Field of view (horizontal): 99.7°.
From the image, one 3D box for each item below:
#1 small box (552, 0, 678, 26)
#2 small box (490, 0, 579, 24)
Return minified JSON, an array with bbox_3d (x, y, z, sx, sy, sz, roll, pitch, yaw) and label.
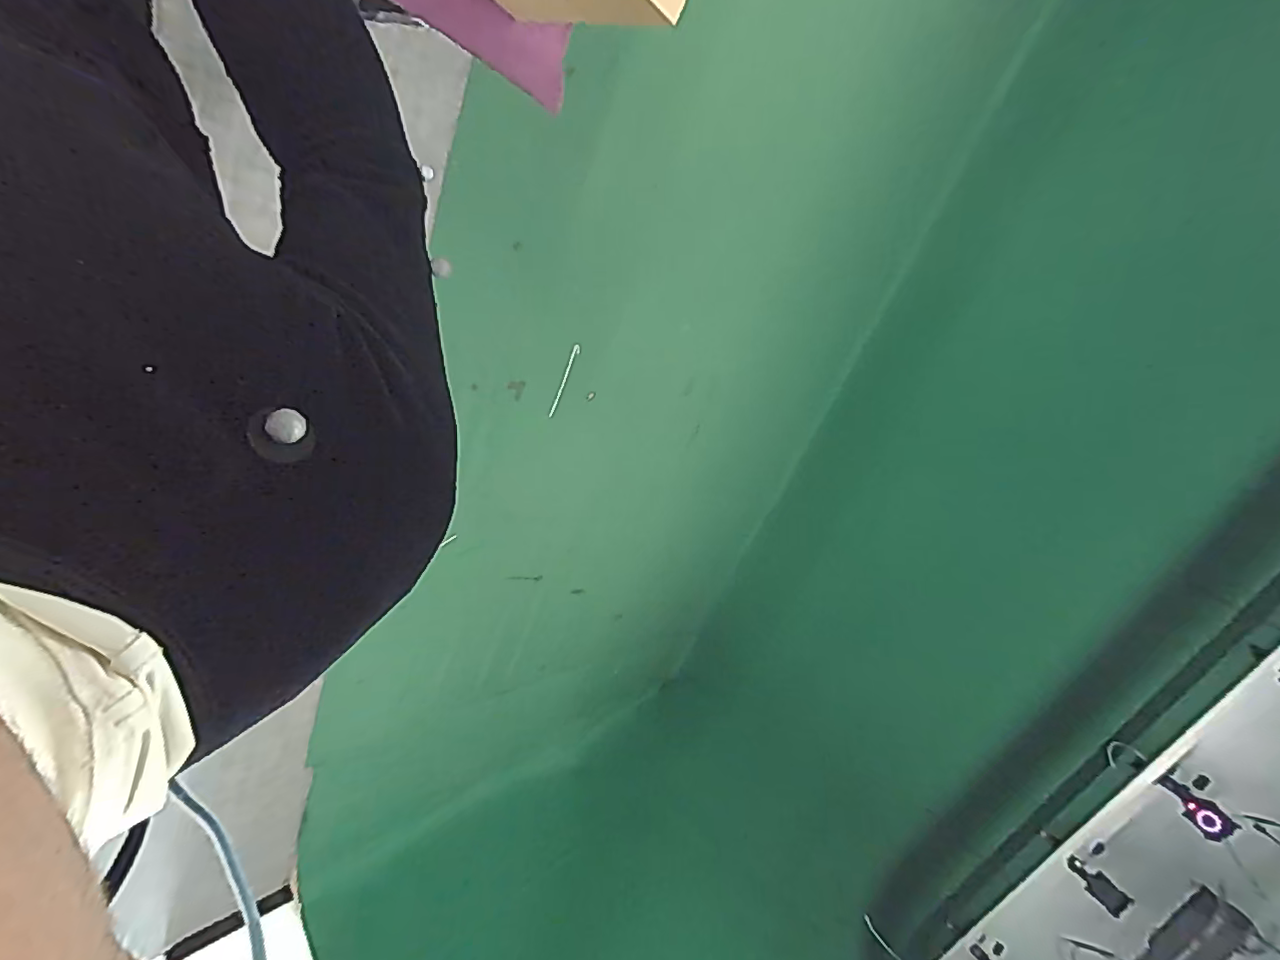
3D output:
[{"bbox_3d":[-0.041,-0.605,0.540,0.168,0.176,0.179,3,118,-48],"label":"small box"},{"bbox_3d":[-0.151,-0.685,0.631,0.179,0.176,0.168,2,118,-50],"label":"small box"}]
